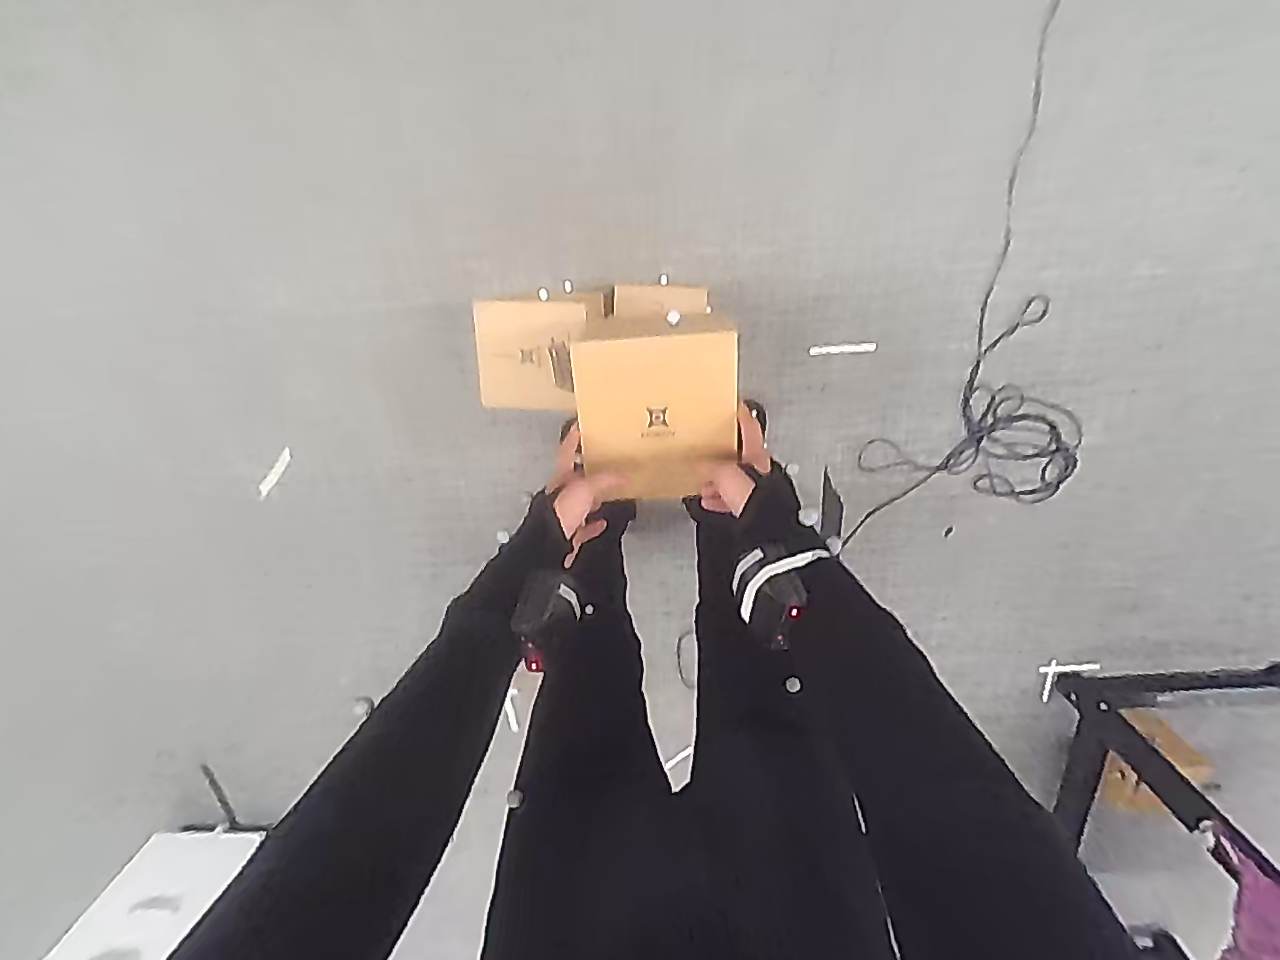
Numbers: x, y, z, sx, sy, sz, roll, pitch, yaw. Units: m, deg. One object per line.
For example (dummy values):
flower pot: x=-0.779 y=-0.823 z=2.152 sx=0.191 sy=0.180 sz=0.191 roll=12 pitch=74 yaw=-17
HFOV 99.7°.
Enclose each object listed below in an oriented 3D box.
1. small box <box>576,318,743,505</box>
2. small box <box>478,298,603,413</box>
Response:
small box: x=0.024 y=-0.088 z=0.624 sx=0.168 sy=0.176 sz=0.179 roll=-3 pitch=115 yaw=3
small box: x=-0.156 y=-0.215 z=0.910 sx=0.179 sy=0.176 sz=0.168 roll=2 pitch=111 yaw=3
